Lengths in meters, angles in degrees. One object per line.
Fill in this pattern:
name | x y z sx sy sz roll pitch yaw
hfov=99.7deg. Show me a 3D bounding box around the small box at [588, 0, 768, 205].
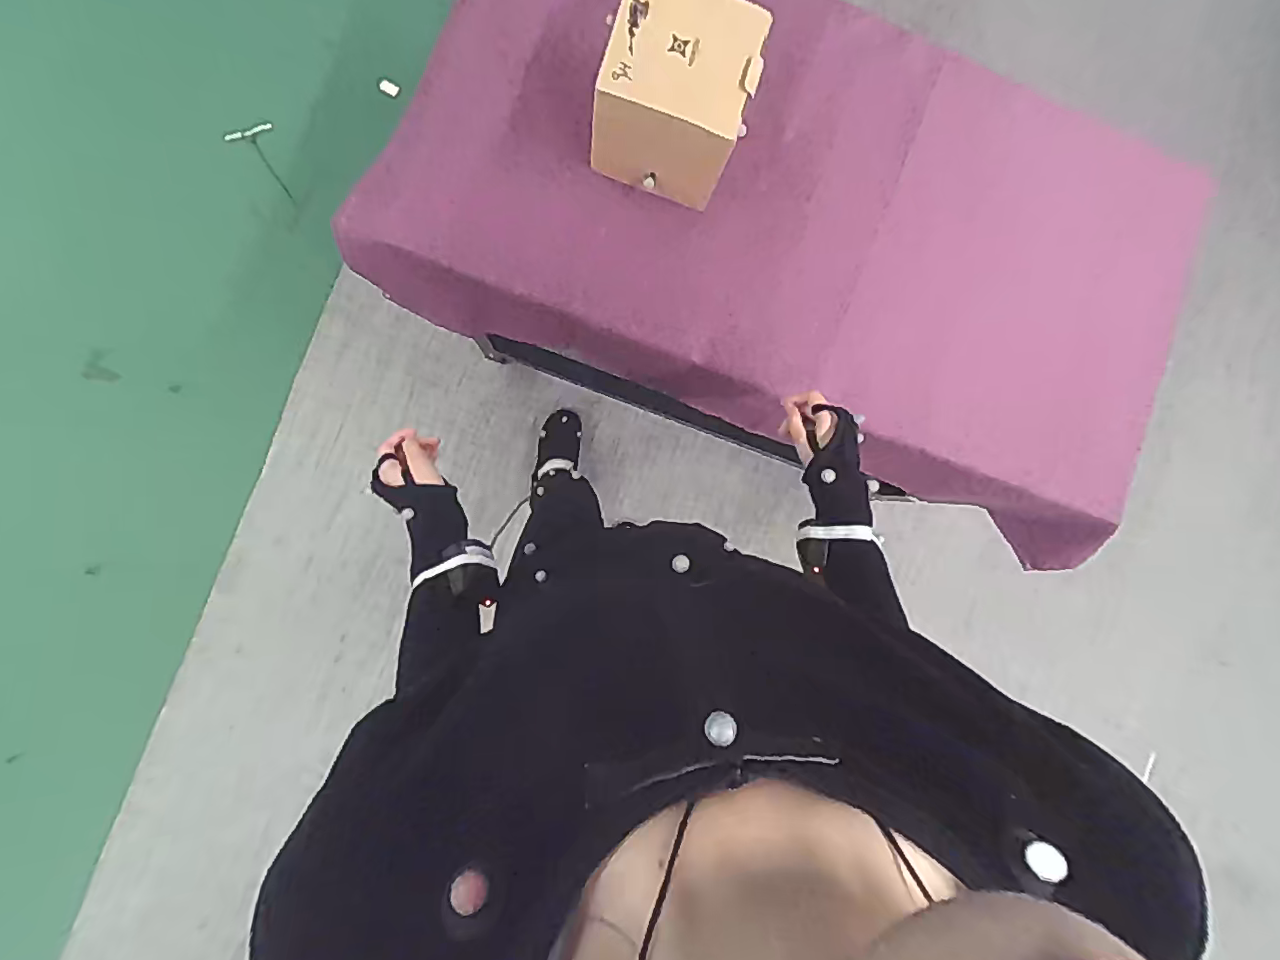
small box | 0.039 -0.497 0.712 0.179 0.176 0.168 18 88 -6
